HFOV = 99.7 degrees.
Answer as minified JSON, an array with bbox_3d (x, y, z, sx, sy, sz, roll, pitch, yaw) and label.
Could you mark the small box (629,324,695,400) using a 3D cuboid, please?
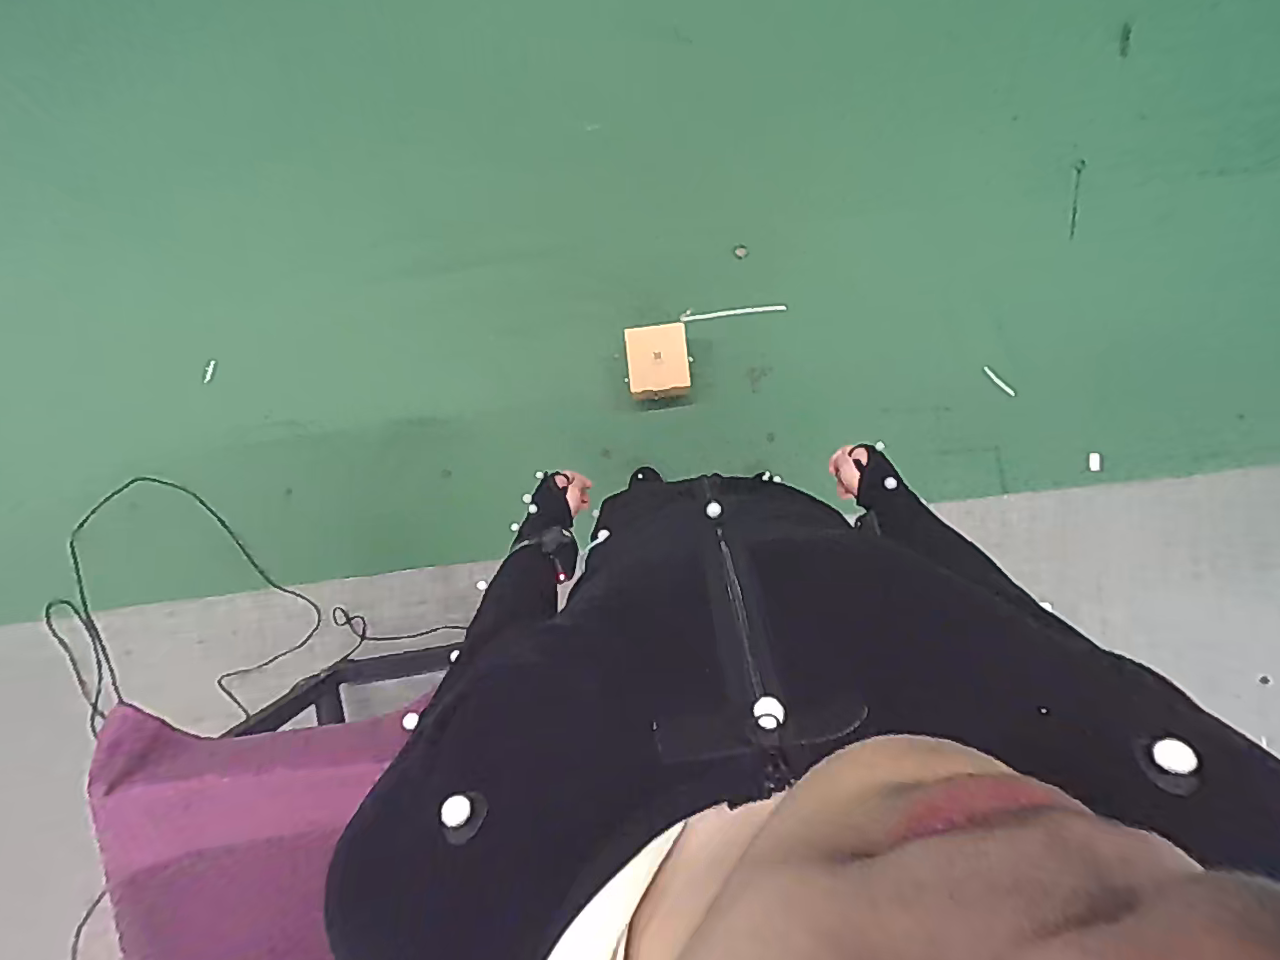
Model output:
[{"bbox_3d":[0.060,-0.332,1.545,0.168,0.176,0.179,-7,92,2],"label":"small box"}]
